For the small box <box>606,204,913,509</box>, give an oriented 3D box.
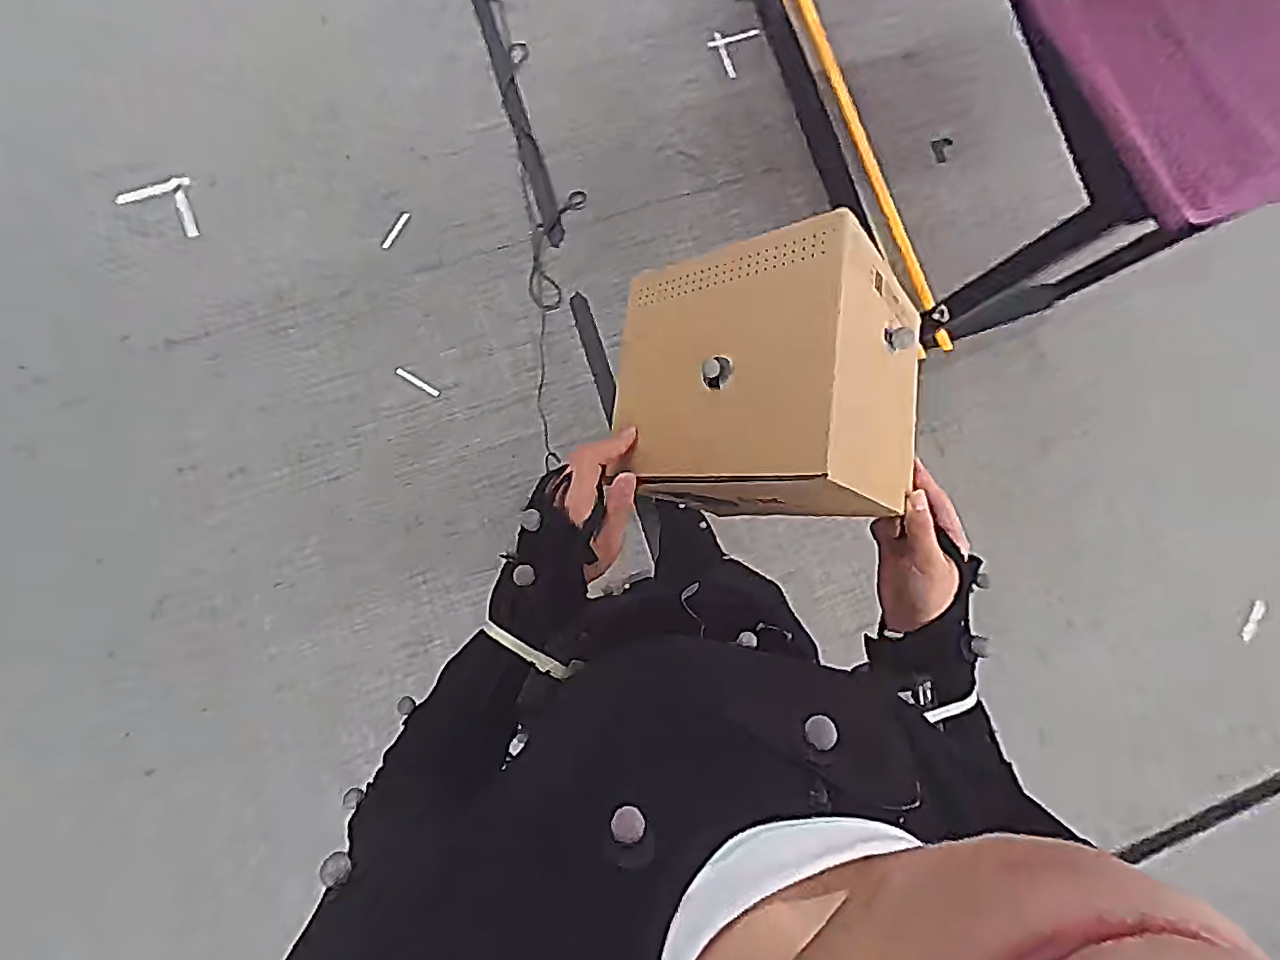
[{"bbox_3d":[0.098,-0.074,0.422,0.168,0.179,0.176,14,78,-48],"label":"small box"}]
